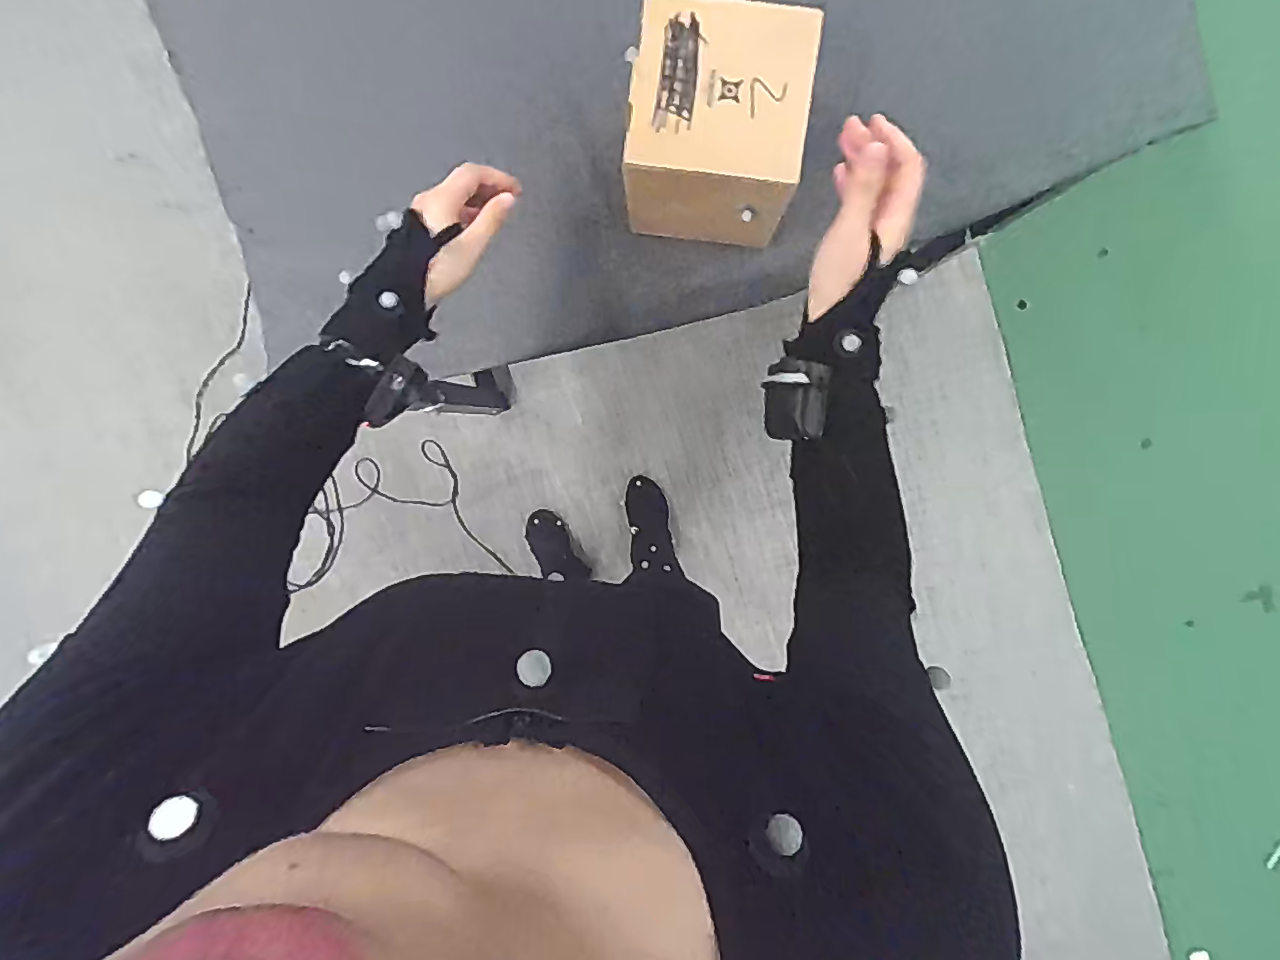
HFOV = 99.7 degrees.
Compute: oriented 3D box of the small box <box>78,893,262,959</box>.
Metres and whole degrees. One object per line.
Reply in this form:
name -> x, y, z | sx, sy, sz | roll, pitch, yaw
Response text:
small box -> -0.622, 0.664, 0.673 | 0.168, 0.176, 0.179 | -27, 97, 6
